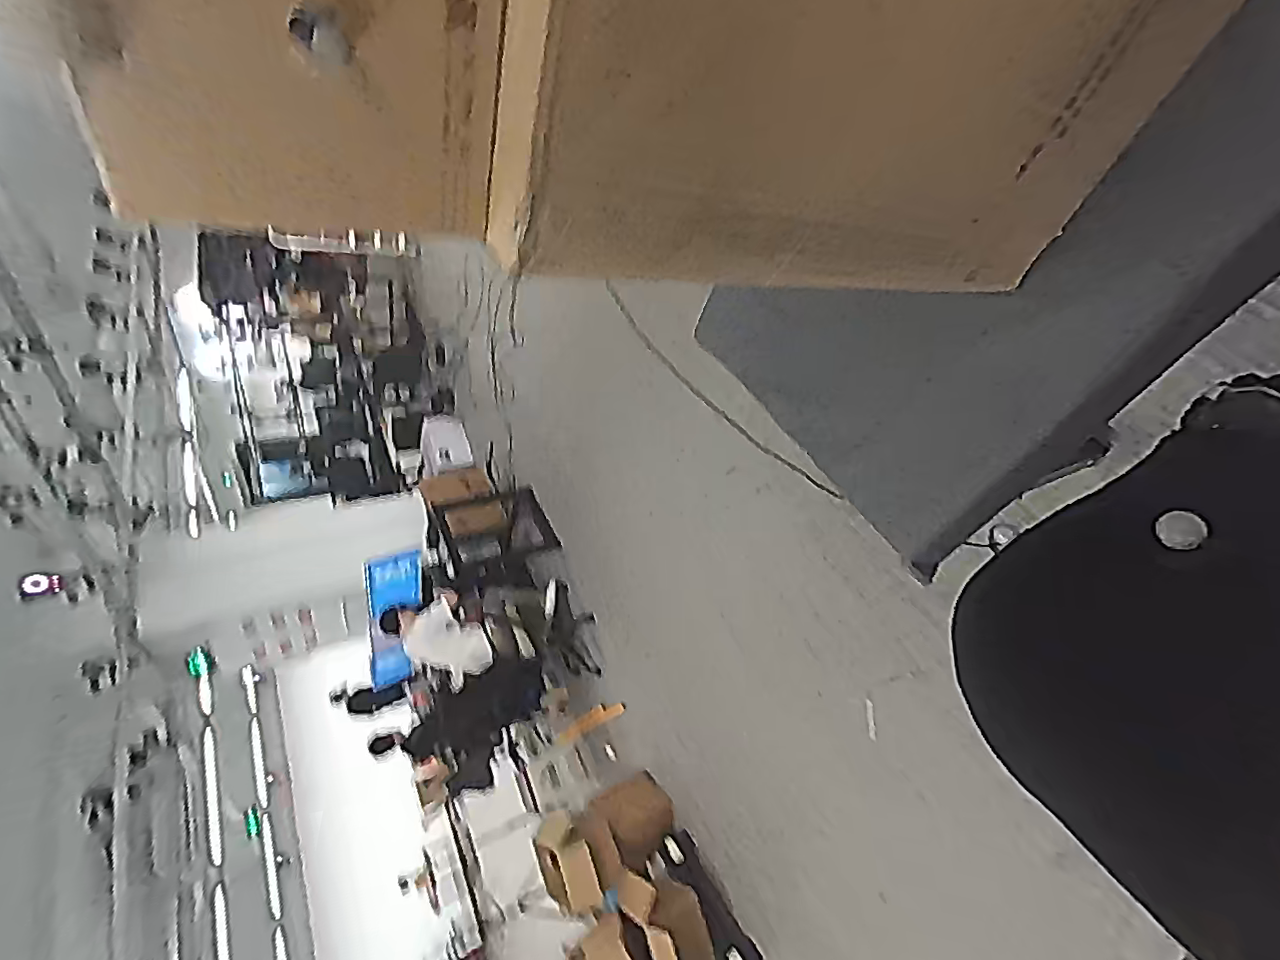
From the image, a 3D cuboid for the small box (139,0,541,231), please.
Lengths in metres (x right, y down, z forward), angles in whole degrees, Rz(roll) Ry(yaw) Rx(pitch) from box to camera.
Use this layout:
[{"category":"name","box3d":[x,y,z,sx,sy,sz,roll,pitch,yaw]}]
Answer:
[{"category":"small box","box3d":[-0.164,-0.252,0.294,0.179,0.176,0.168,51,141,34]}]
